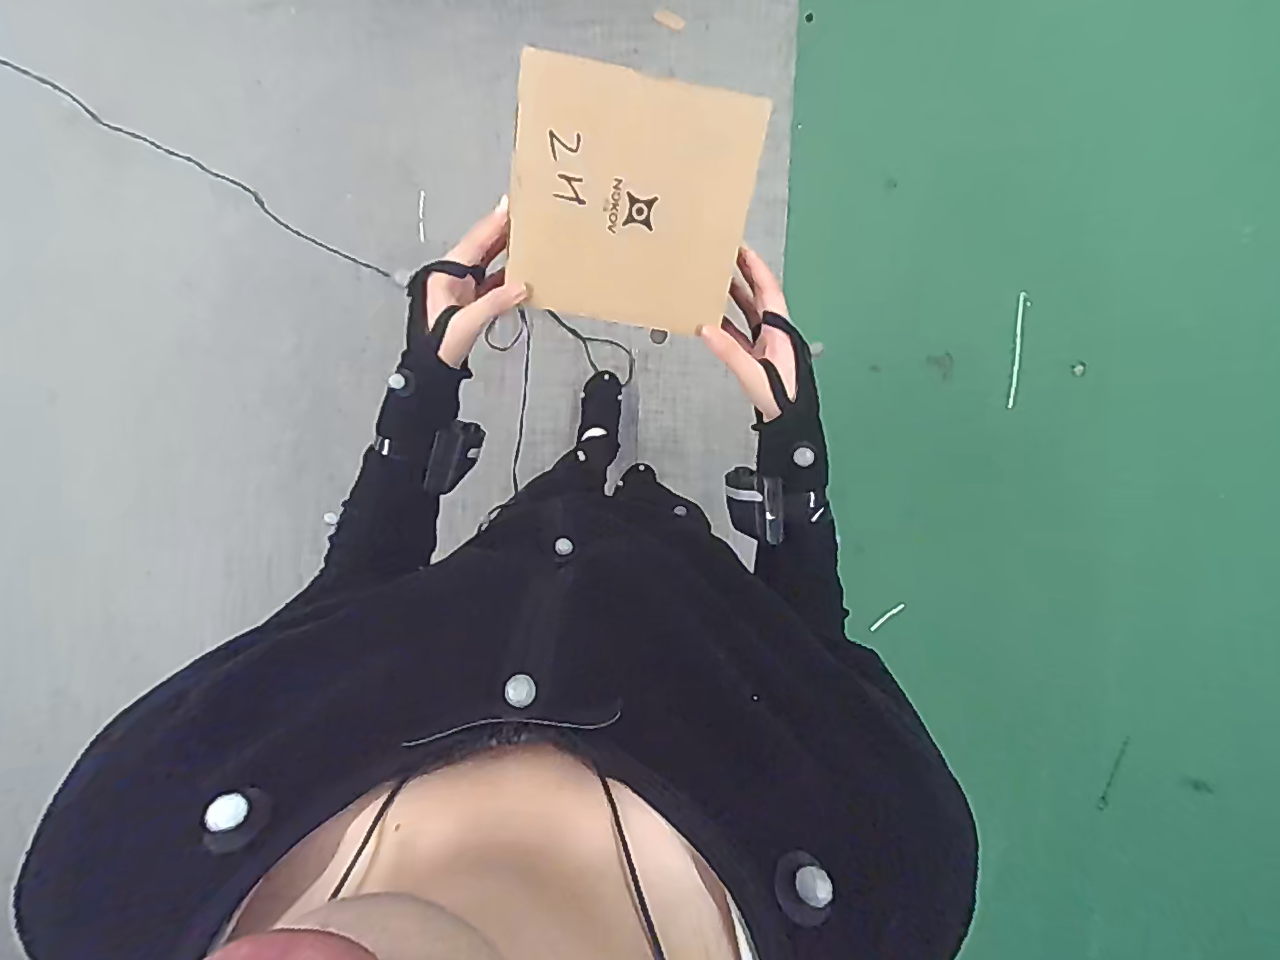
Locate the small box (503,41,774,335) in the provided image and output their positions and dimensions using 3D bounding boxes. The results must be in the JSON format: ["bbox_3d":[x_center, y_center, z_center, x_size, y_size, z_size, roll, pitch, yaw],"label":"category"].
[{"bbox_3d":[-0.007,-0.237,0.468,0.179,0.176,0.168,10,114,-4],"label":"small box"}]

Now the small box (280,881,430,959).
[{"bbox_3d":[-0.466,0.808,0.901,0.168,0.176,0.179,-4,91,0],"label":"small box"}]
